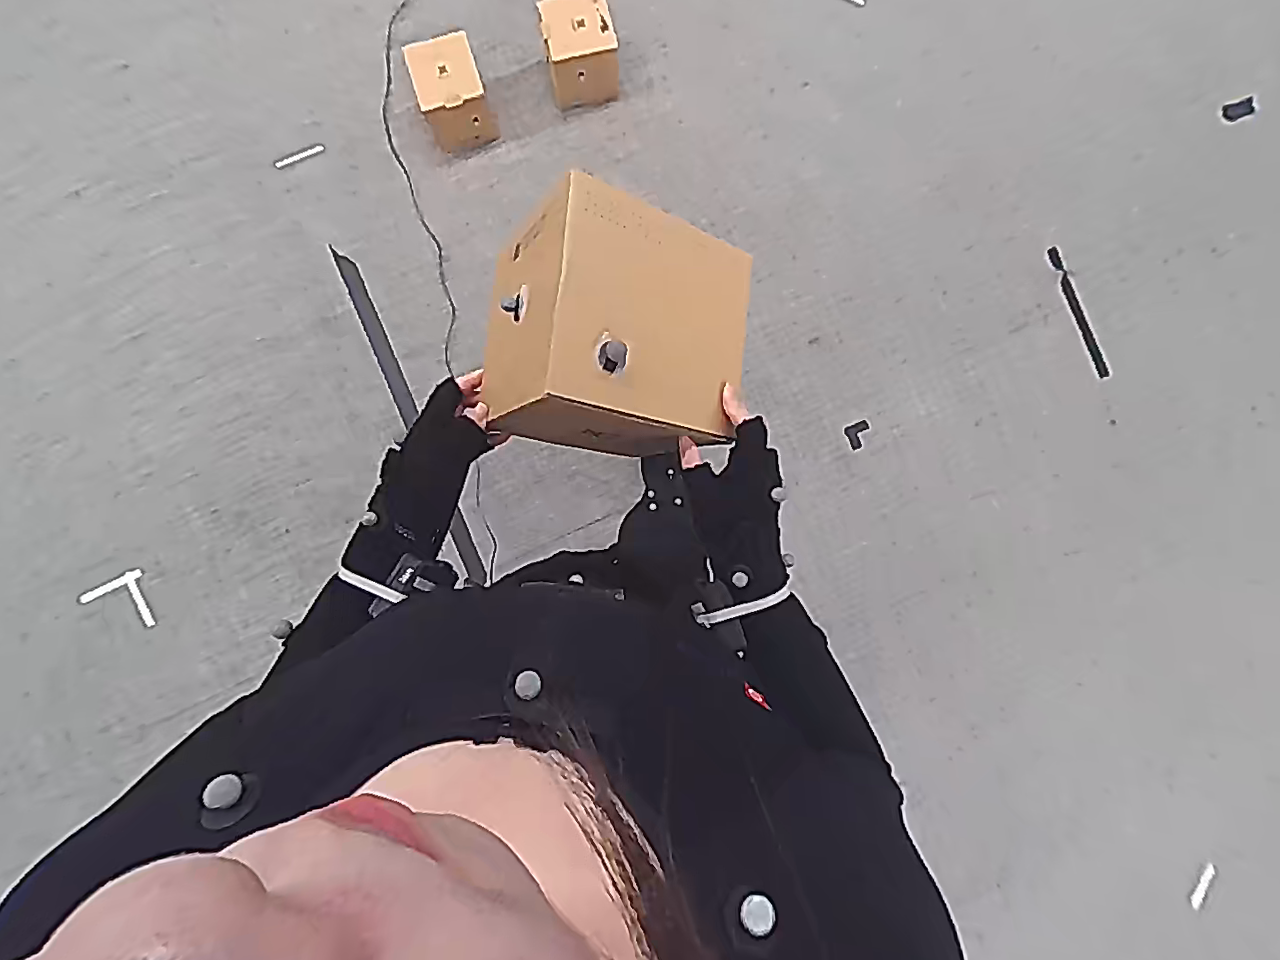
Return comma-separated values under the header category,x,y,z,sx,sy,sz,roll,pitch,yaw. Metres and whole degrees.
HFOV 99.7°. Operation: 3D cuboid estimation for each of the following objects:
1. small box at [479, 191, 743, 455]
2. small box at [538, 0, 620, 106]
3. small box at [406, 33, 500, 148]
category,x,y,z,sx,sy,sz,roll,pitch,yaw
small box,-0.027,-0.125,0.487,0.179,0.168,0.176,9,84,-32
small box,-0.156,-1.143,1.444,0.179,0.176,0.168,-14,89,-2
small box,-0.487,-1.017,1.433,0.168,0.176,0.179,-17,89,-2
